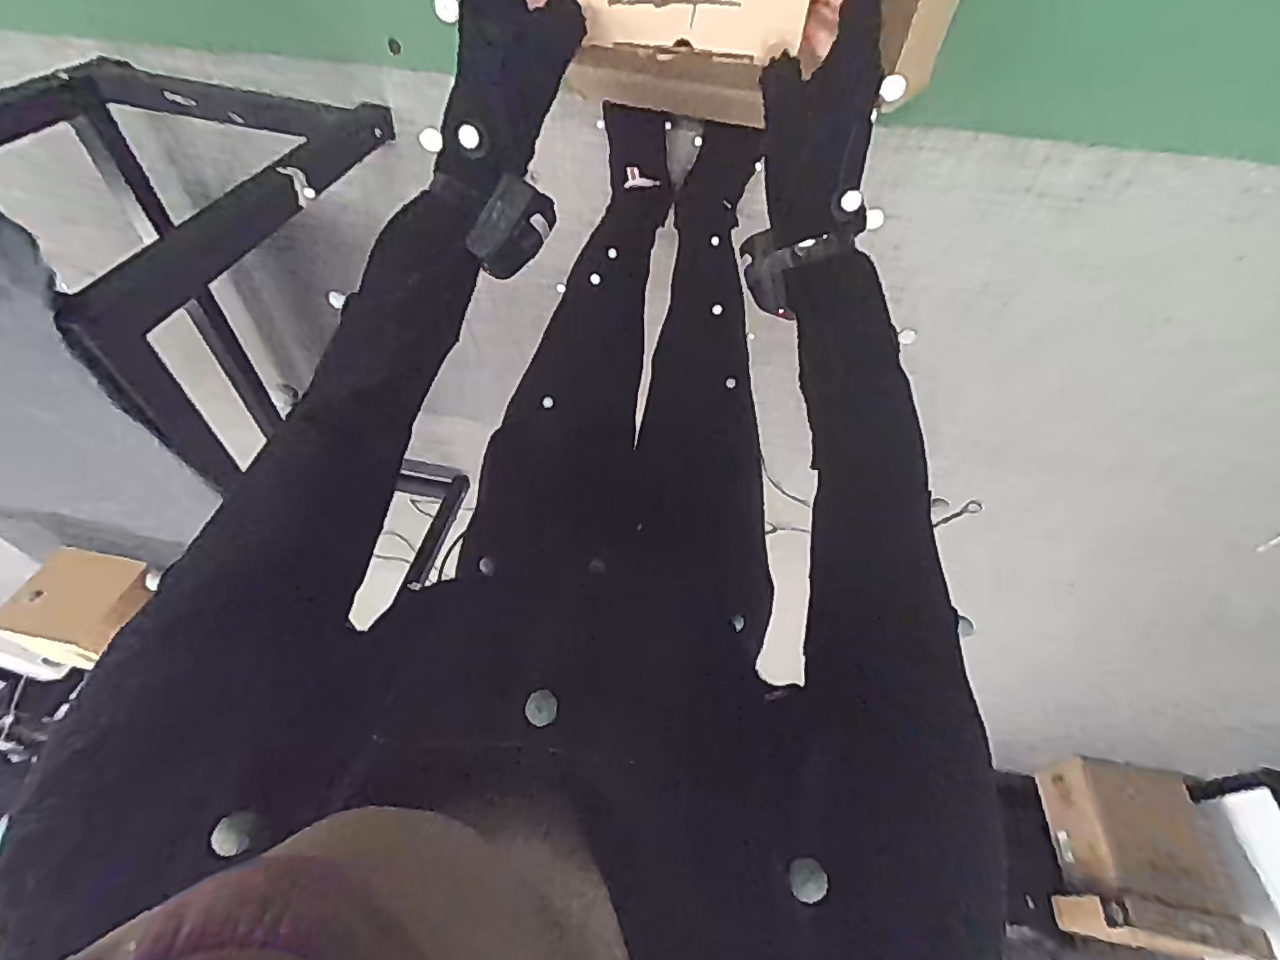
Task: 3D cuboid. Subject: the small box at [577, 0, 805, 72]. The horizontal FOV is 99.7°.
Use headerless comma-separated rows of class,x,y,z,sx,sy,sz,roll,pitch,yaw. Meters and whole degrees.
small box,0.053,-0.428,0.407,0.168,0.176,0.179,9,130,5
